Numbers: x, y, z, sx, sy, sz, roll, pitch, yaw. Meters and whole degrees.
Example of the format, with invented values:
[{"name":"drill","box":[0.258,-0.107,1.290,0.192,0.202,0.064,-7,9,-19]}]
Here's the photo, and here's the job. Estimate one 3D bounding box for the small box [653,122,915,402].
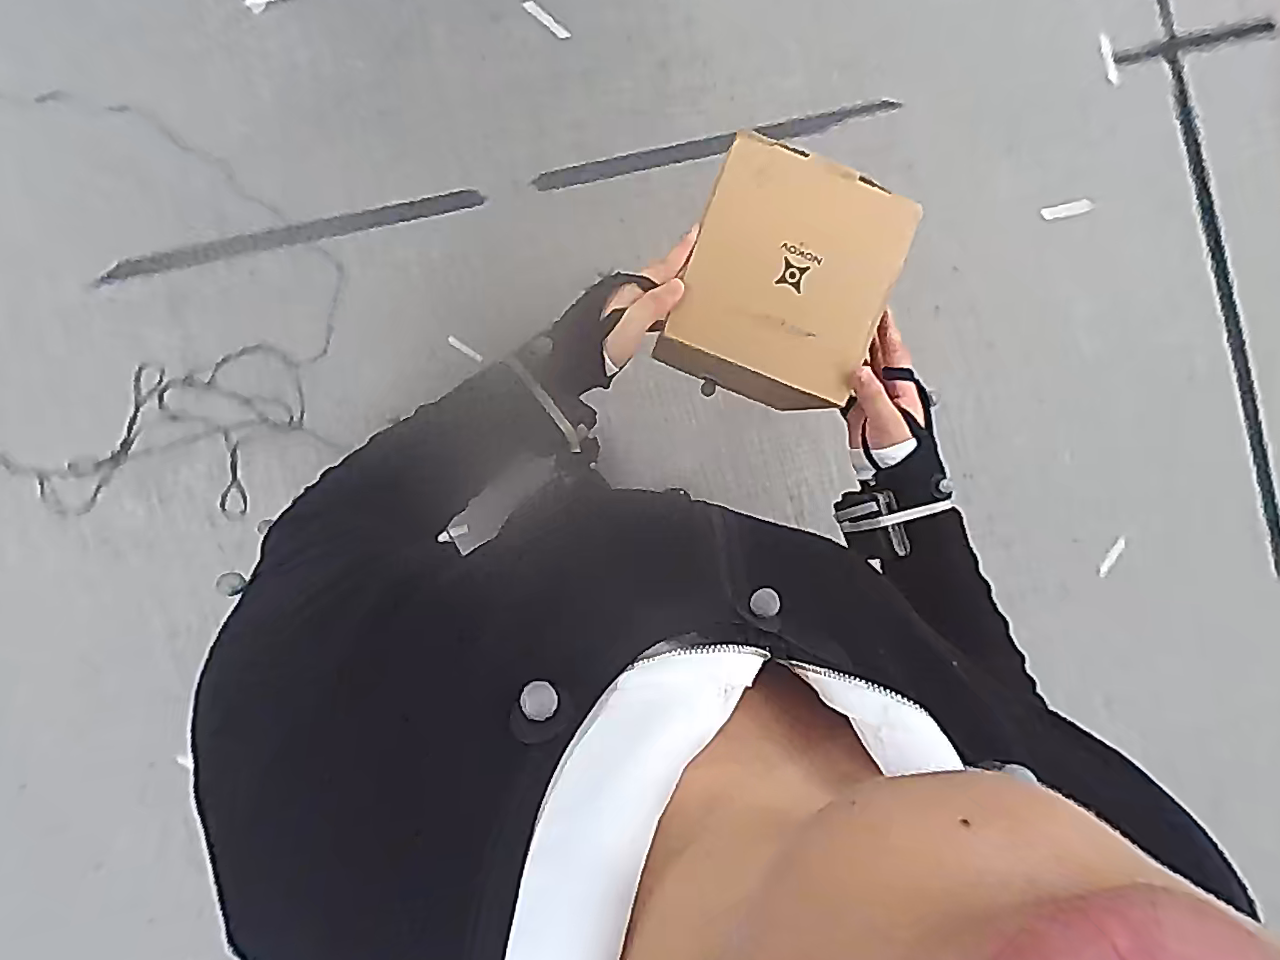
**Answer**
[{"name":"small box","box":[0.116,-0.184,0.517,0.168,0.176,0.179,19,95,-4]}]
